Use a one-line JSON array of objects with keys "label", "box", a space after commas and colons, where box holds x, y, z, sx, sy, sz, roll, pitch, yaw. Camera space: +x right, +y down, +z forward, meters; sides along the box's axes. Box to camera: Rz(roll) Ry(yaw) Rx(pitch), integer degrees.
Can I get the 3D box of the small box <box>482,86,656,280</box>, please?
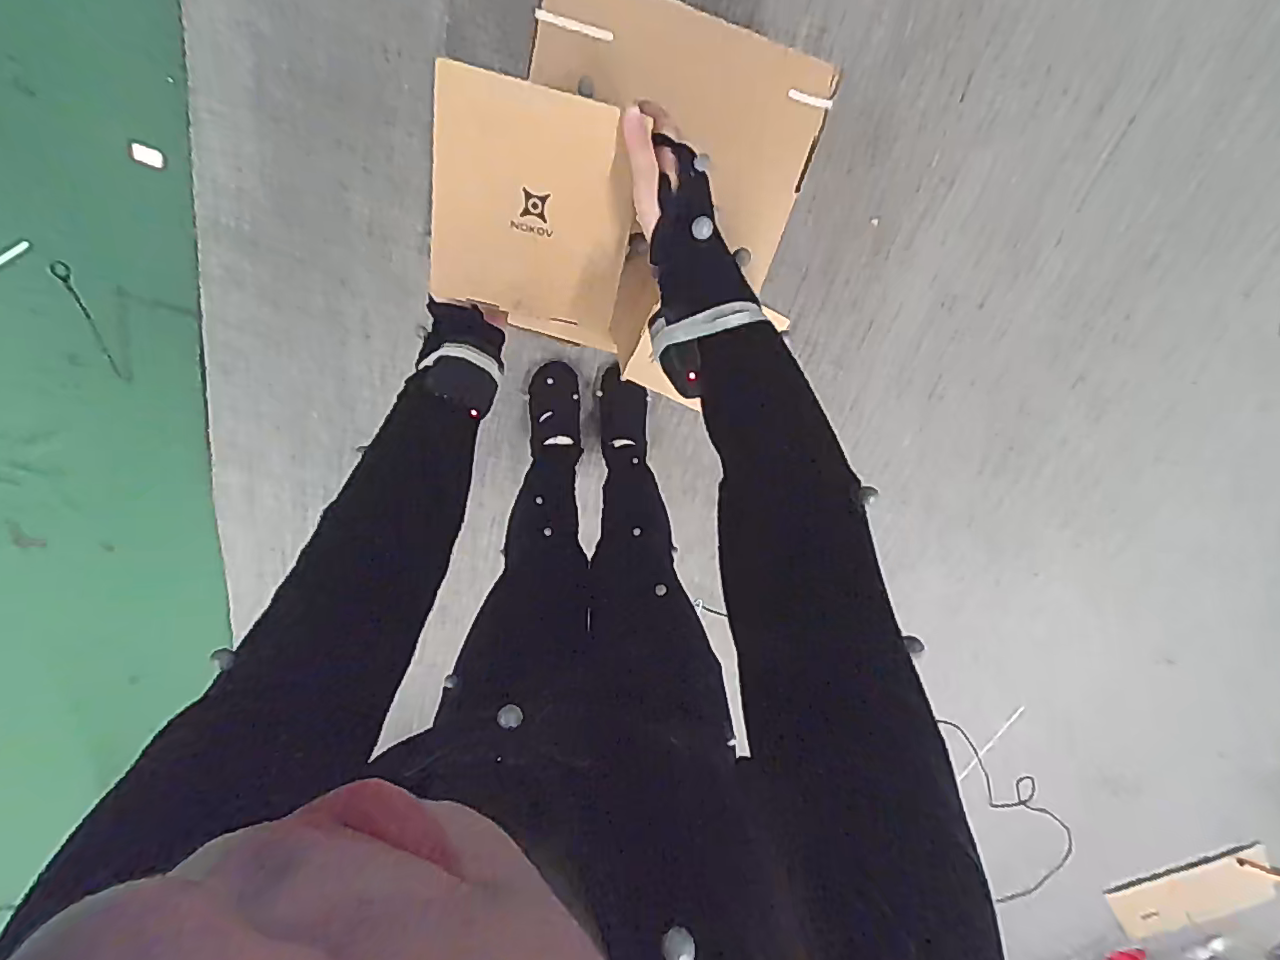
[{"label": "small box", "box": [-0.091, -0.376, 0.702, 0.179, 0.176, 0.168, 13, 116, -9]}]
